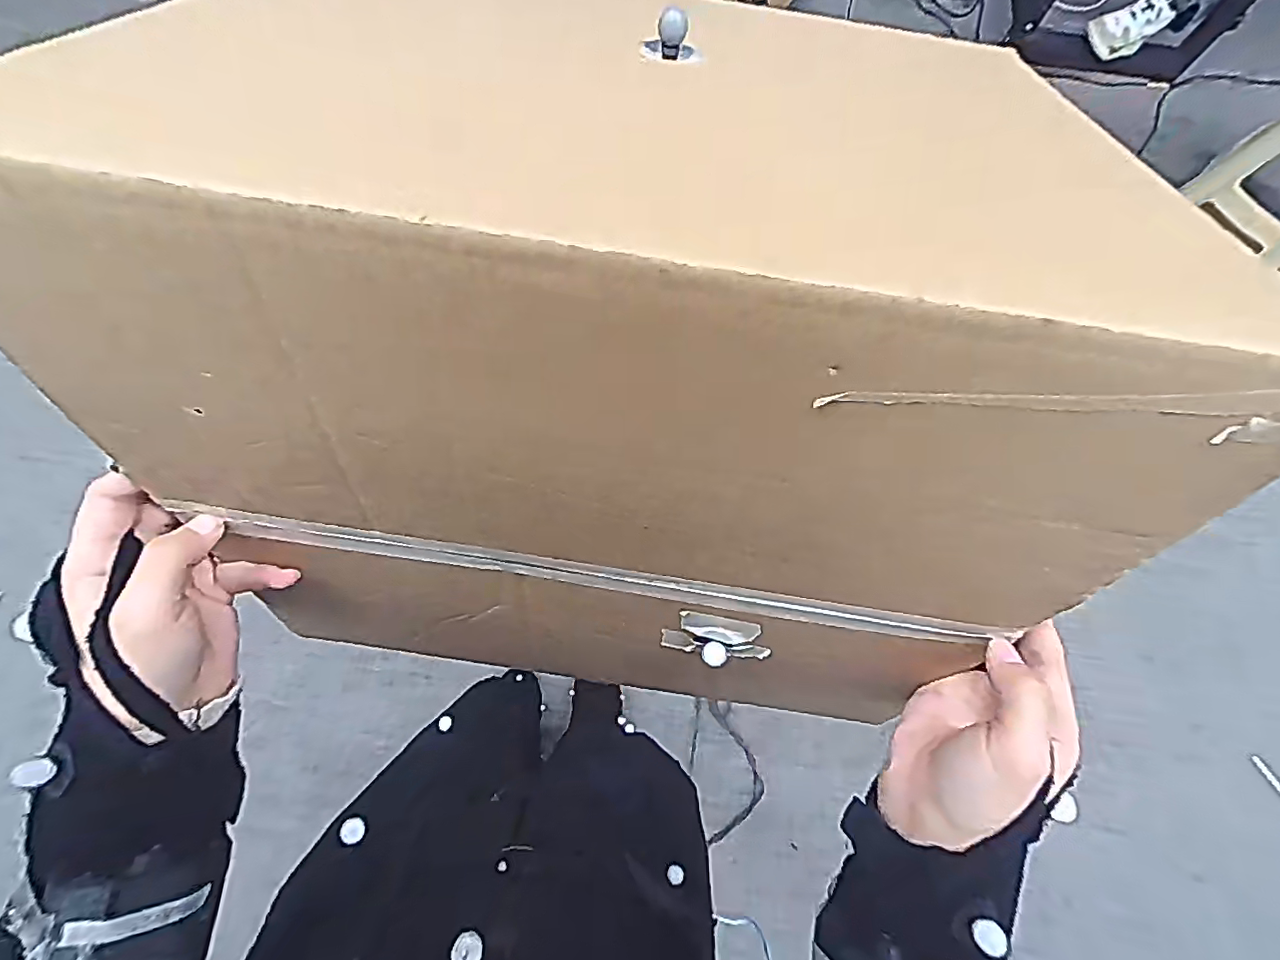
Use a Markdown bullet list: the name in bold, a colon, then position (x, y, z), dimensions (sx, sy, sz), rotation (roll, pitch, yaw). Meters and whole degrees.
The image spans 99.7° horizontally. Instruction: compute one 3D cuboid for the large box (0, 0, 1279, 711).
- **large box**: position (-0.008, -0.074, 0.357), dimensions (0.408, 0.320, 0.320), rotation (8, 52, 0)
